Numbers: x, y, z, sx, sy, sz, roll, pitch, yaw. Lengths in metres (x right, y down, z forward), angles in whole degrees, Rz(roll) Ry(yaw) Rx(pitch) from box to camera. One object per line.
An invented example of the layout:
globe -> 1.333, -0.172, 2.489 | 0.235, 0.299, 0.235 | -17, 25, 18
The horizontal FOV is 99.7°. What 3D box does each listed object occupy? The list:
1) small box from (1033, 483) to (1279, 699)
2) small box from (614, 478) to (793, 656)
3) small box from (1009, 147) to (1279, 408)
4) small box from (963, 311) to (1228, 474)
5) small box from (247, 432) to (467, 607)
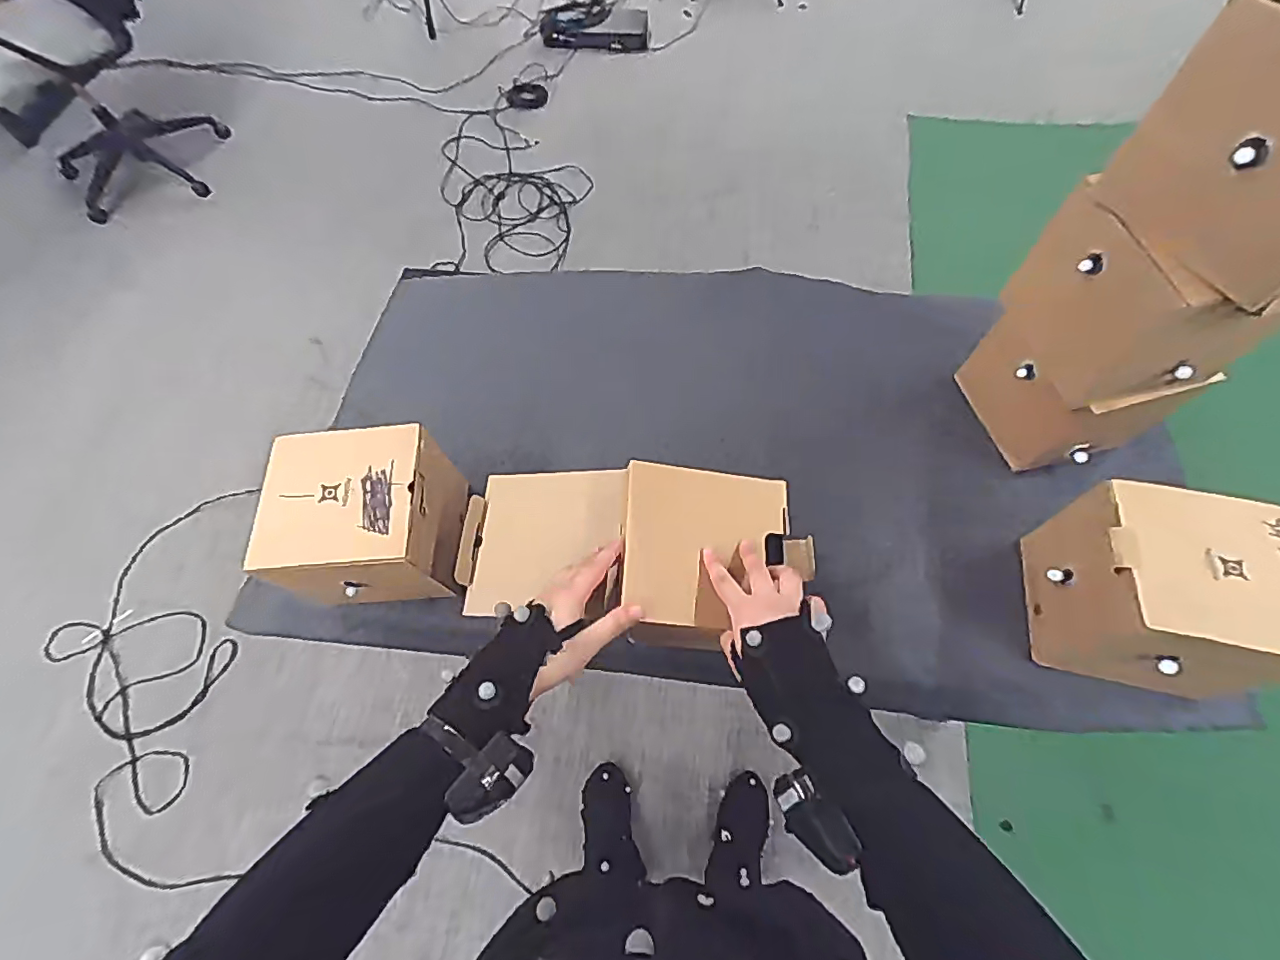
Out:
small box -> 0.562, 0.126, 0.587 | 0.179, 0.176, 0.168 | 11, 61, 9
small box -> 0.073, 0.107, 0.626 | 0.179, 0.176, 0.168 | 2, 67, 5
small box -> 0.540, -0.204, 0.570 | 0.168, 0.176, 0.179 | -12, 65, 1
small box -> 0.573, -0.132, 0.716 | 0.168, 0.176, 0.179 | -15, 66, -1
small box -> -0.328, 0.056, 0.671 | 0.179, 0.176, 0.168 | -5, 65, 1
